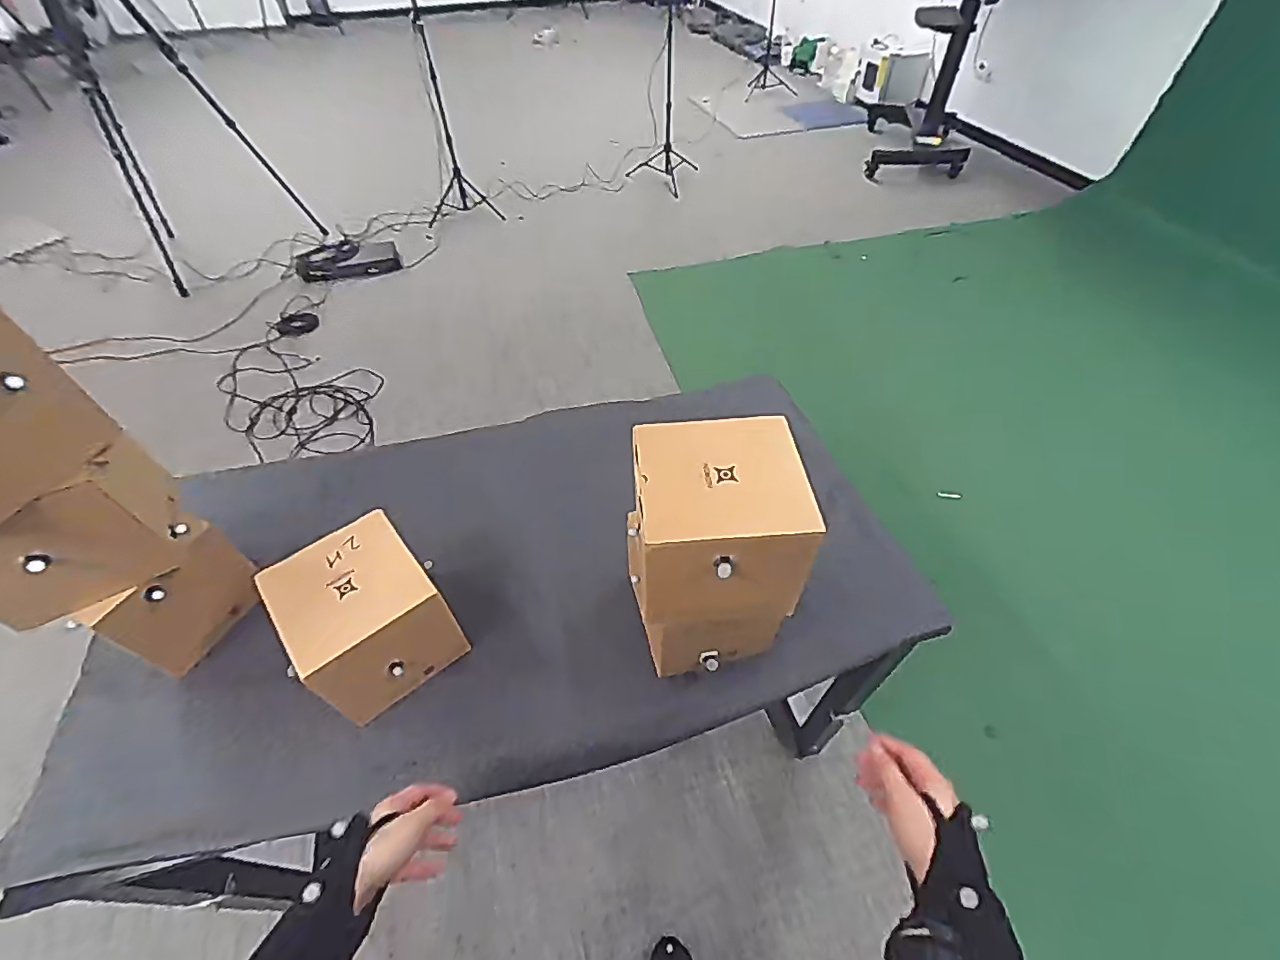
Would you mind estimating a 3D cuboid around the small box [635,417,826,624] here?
[{"bbox_3d":[0.087,0.049,0.616,0.179,0.176,0.168,-4,49,-1],"label":"small box"}]

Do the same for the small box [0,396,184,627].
[{"bbox_3d":[-0.681,0.038,0.635,0.179,0.176,0.168,-28,56,-20],"label":"small box"}]

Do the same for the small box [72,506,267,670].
[{"bbox_3d":[-0.681,0.141,0.764,0.179,0.176,0.168,19,53,16],"label":"small box"}]

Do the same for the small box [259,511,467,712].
[{"bbox_3d":[-0.357,0.182,0.724,0.168,0.176,0.179,-33,56,-25],"label":"small box"}]

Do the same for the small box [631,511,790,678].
[{"bbox_3d":[0.086,0.145,0.748,0.168,0.176,0.179,-12,50,-8],"label":"small box"}]
